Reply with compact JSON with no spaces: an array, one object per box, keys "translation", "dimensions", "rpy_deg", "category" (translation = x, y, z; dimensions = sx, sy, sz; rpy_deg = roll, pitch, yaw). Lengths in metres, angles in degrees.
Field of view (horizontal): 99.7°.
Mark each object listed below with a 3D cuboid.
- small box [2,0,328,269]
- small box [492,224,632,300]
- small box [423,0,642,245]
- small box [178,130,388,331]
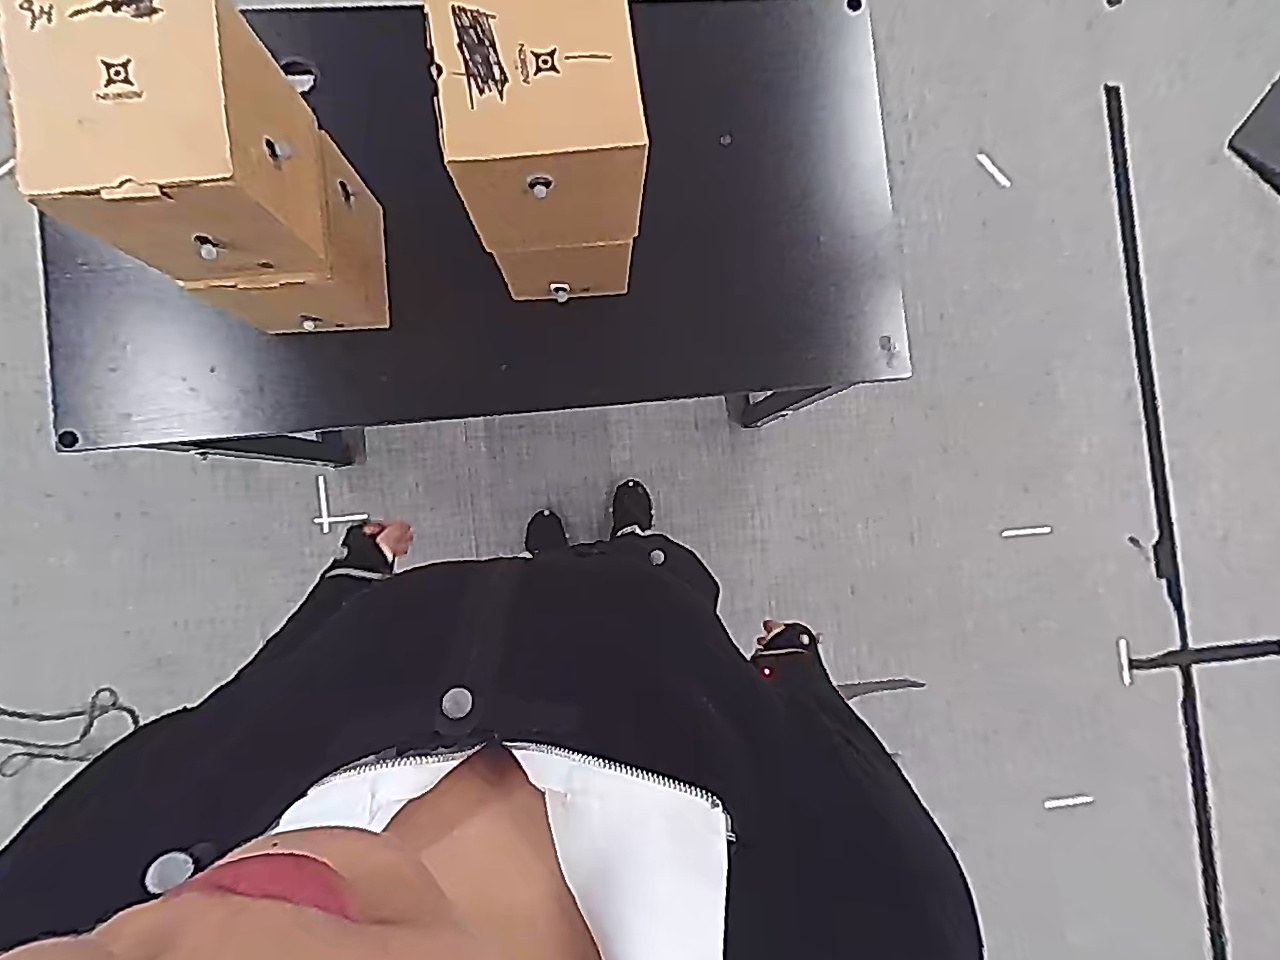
[{"translation":[-0.427,-0.317,0.518],"dimensions":[0.168,0.176,0.179],"rpy_deg":[-7,89,-5],"category":"small box"},{"translation":[-0.104,-0.356,0.711],"dimensions":[0.168,0.176,0.179],"rpy_deg":[-6,89,-3],"category":"small box"},{"translation":[-0.097,-0.358,0.546],"dimensions":[0.179,0.176,0.168],"rpy_deg":[-8,88,-4],"category":"small box"},{"translation":[-0.436,-0.302,0.682],"dimensions":[0.168,0.176,0.179],"rpy_deg":[-4,88,-4],"category":"small box"}]
